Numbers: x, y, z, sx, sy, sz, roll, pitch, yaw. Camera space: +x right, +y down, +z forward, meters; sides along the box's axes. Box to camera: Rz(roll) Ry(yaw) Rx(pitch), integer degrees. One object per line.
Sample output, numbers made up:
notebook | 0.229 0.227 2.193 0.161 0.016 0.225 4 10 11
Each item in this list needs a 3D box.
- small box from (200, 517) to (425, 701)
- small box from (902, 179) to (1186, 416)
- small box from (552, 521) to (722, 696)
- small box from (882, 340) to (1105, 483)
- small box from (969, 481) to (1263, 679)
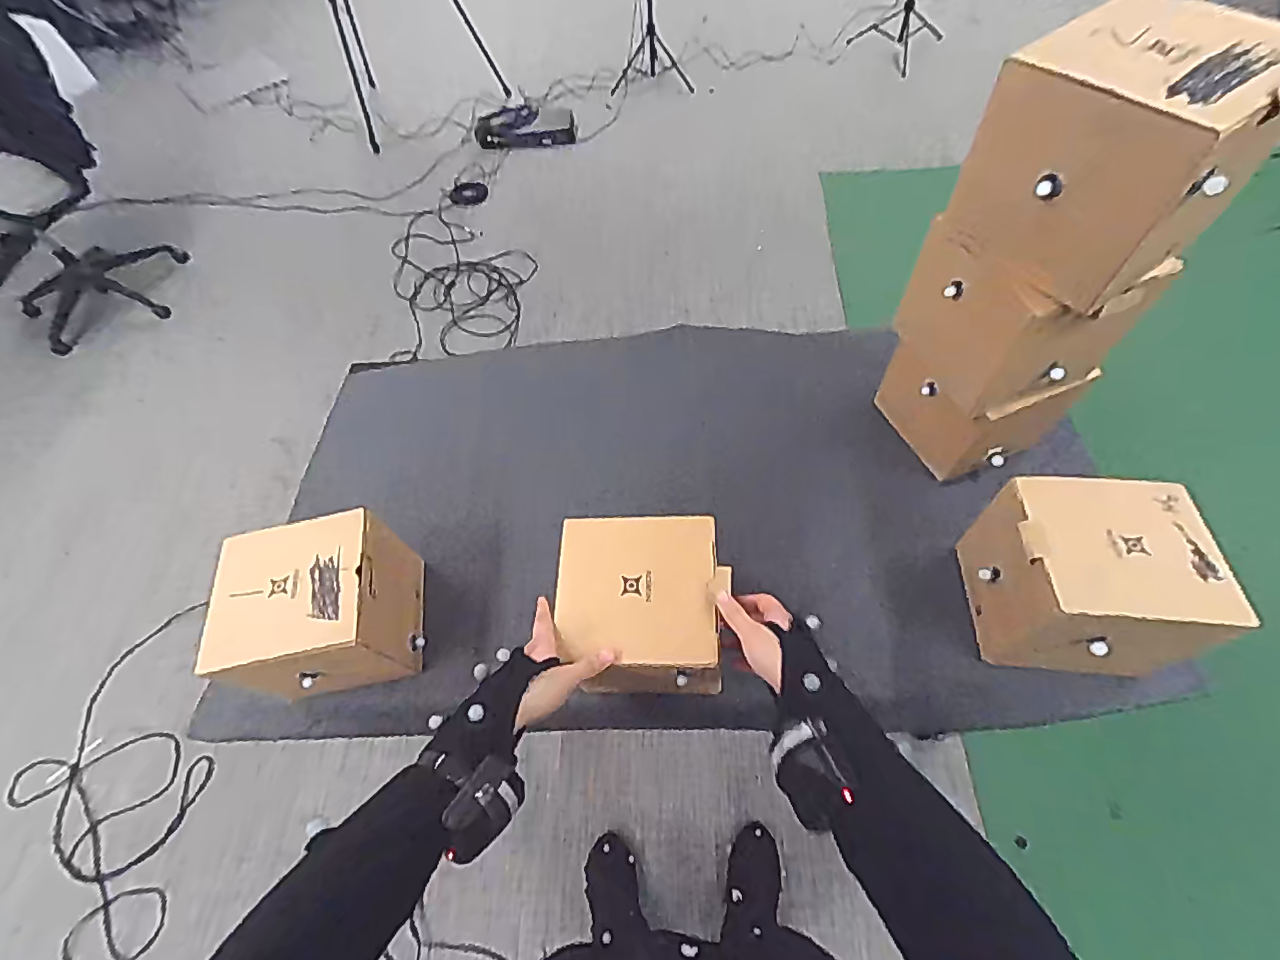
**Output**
small box | -0.389 0.168 0.682 0.179 0.176 0.168 -12 59 -1
small box | 0.441 -0.207 0.633 0.168 0.176 0.179 -19 59 -2
small box | 0.007 0.160 0.649 0.179 0.176 0.168 -2 60 6
small box | 0.480 -0.126 0.772 0.168 0.176 0.179 -23 61 -5
small box | 0.505 0.117 0.617 0.179 0.176 0.168 2 55 8
